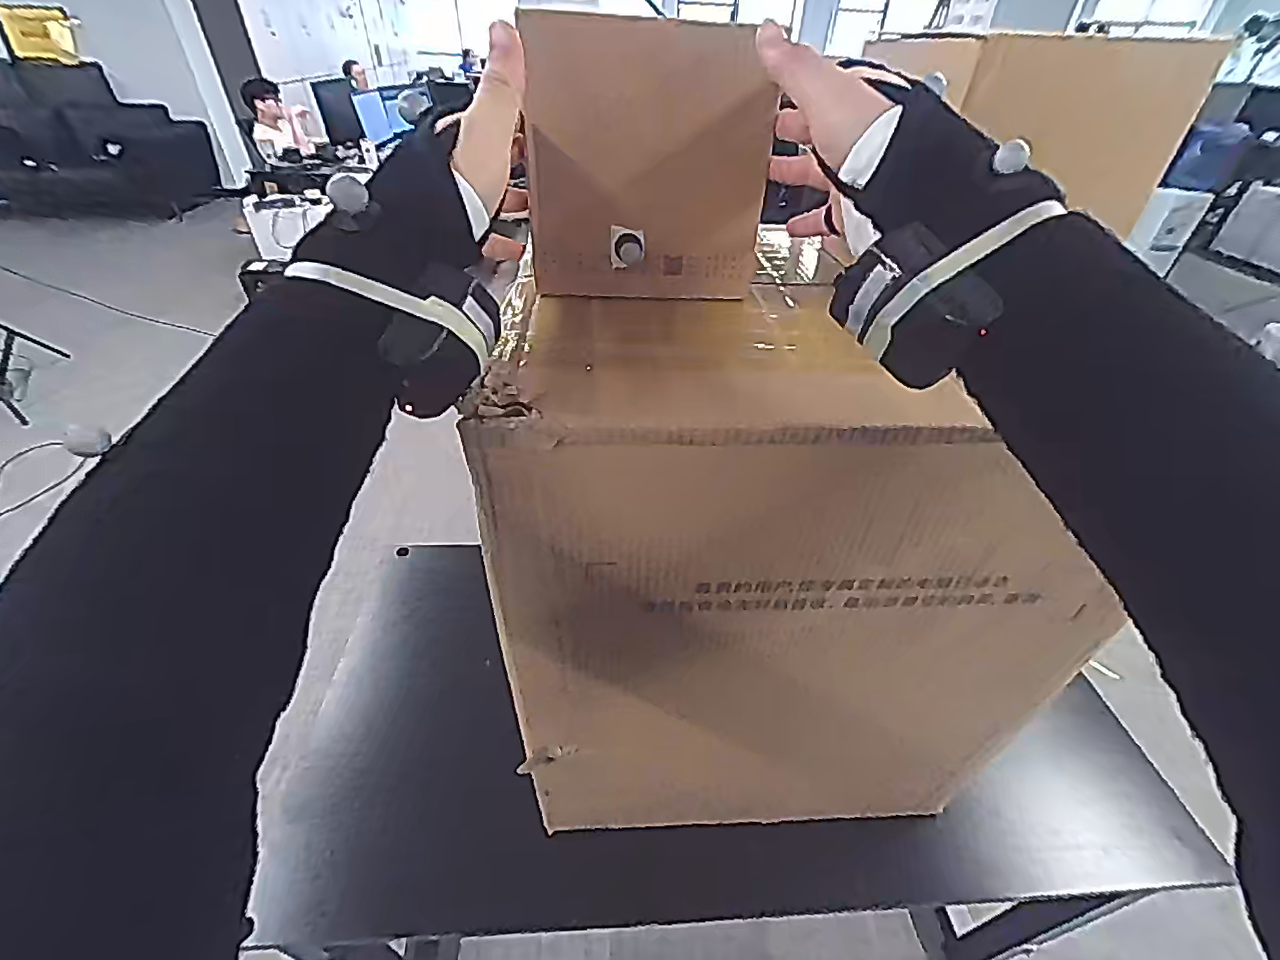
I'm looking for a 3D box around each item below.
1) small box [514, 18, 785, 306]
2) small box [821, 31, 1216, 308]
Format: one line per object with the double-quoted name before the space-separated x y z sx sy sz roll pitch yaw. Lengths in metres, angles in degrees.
"small box" -0.004 -0.252 0.434 0.168 0.176 0.179 -3 40 -6
"small box" 0.268 -0.253 0.443 0.168 0.176 0.179 -3 39 -4
